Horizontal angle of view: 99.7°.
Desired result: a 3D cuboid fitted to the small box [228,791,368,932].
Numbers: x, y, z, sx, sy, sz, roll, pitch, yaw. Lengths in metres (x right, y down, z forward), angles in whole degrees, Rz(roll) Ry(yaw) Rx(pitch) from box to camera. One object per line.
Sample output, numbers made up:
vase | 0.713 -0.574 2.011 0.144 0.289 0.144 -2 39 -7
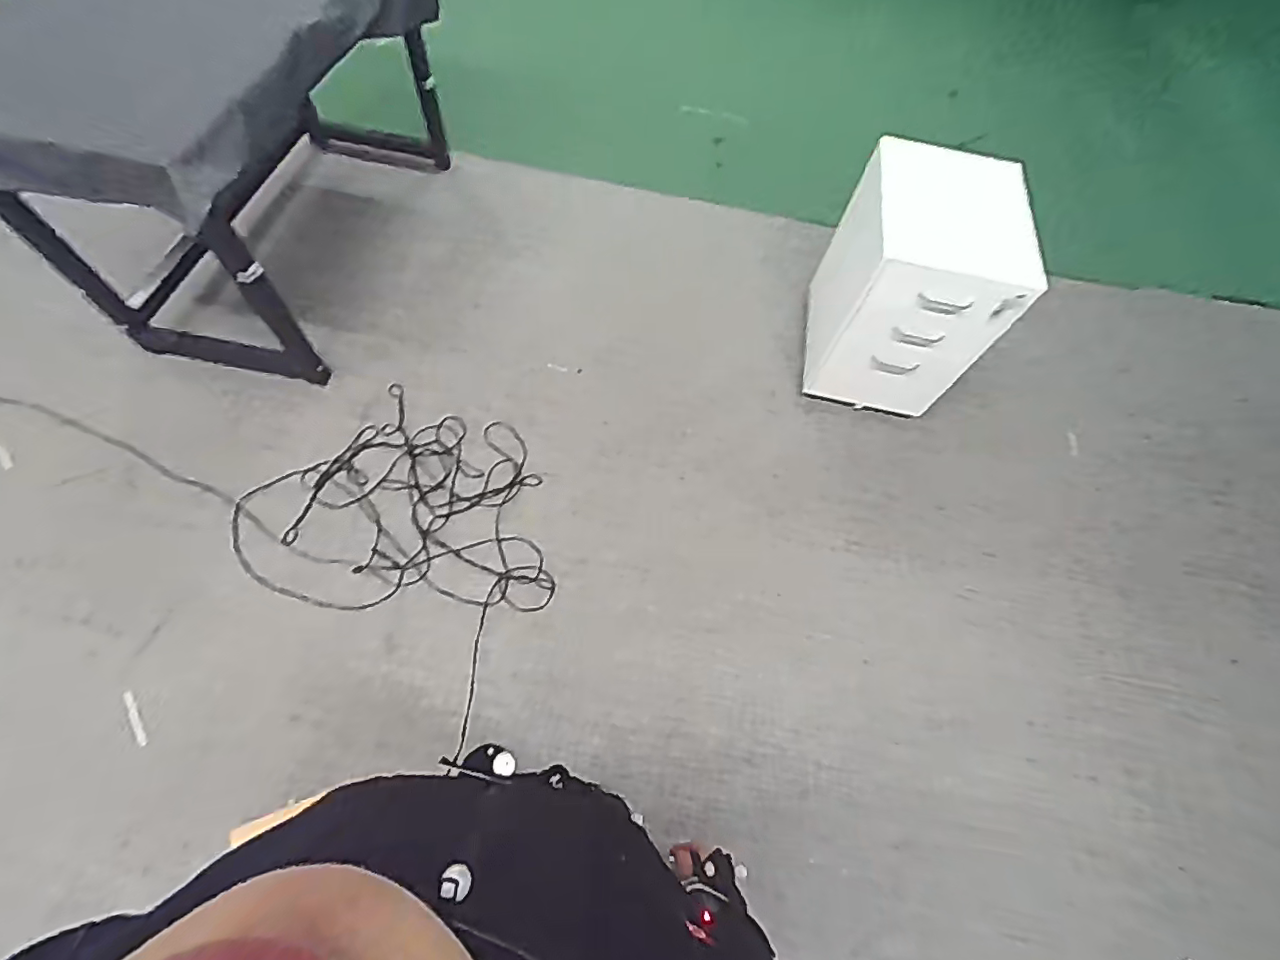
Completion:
small box | -0.672 0.742 1.073 0.179 0.176 0.168 -18 66 -16
